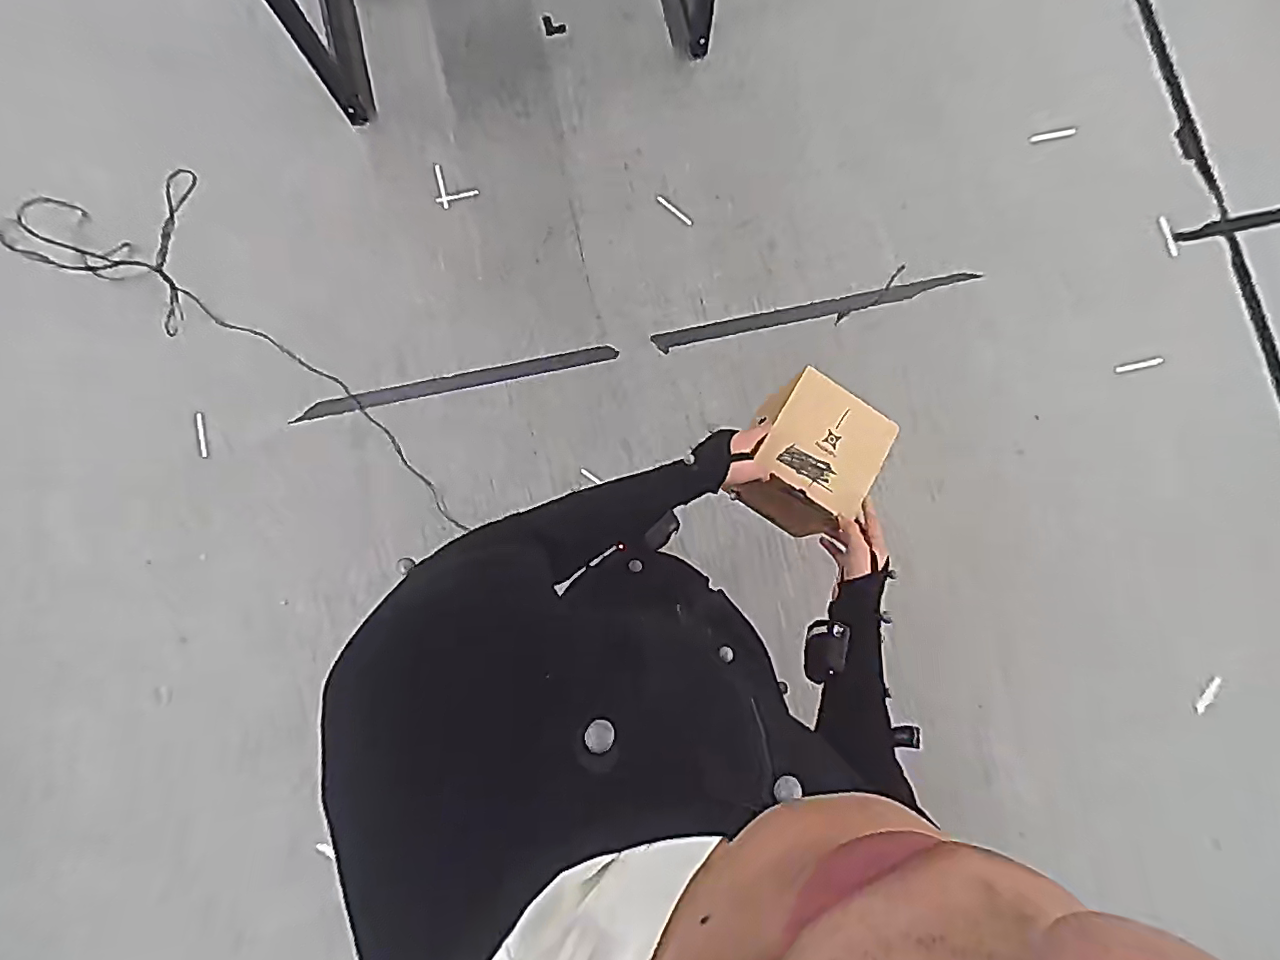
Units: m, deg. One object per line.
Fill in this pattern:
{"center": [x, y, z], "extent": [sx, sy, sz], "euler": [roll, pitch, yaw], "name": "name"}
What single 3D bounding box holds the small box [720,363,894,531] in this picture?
{"center": [0.242, -0.038, 0.831], "extent": [0.168, 0.176, 0.179], "euler": [33, 74, -3], "name": "small box"}
